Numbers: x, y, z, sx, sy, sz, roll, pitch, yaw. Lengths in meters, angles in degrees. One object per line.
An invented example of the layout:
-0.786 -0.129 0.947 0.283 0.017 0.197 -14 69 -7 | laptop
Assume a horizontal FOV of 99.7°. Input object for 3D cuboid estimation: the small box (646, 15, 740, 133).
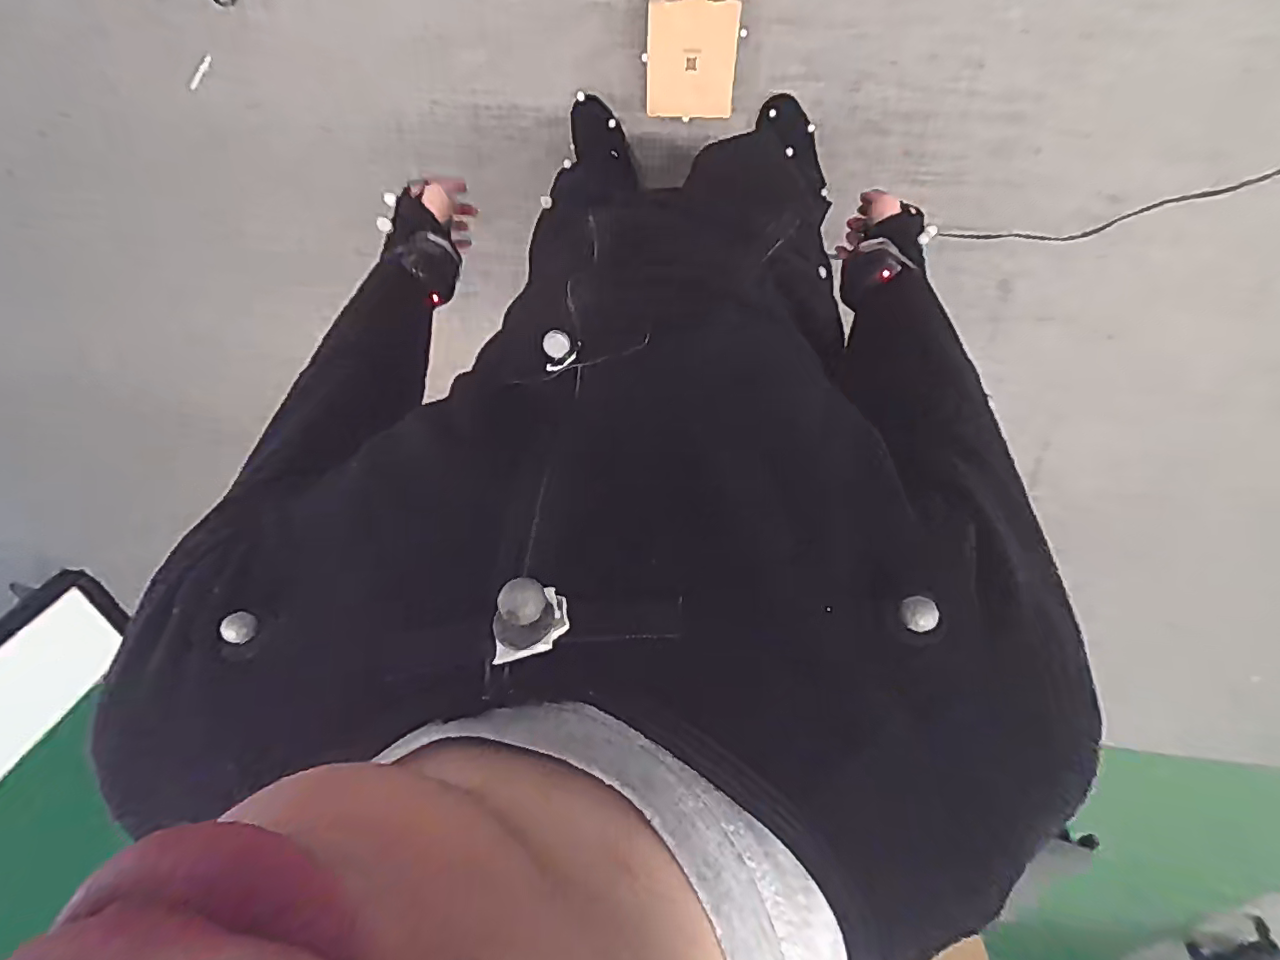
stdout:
0.104 -0.805 1.076 0.168 0.176 0.179 5 129 6 | small box
